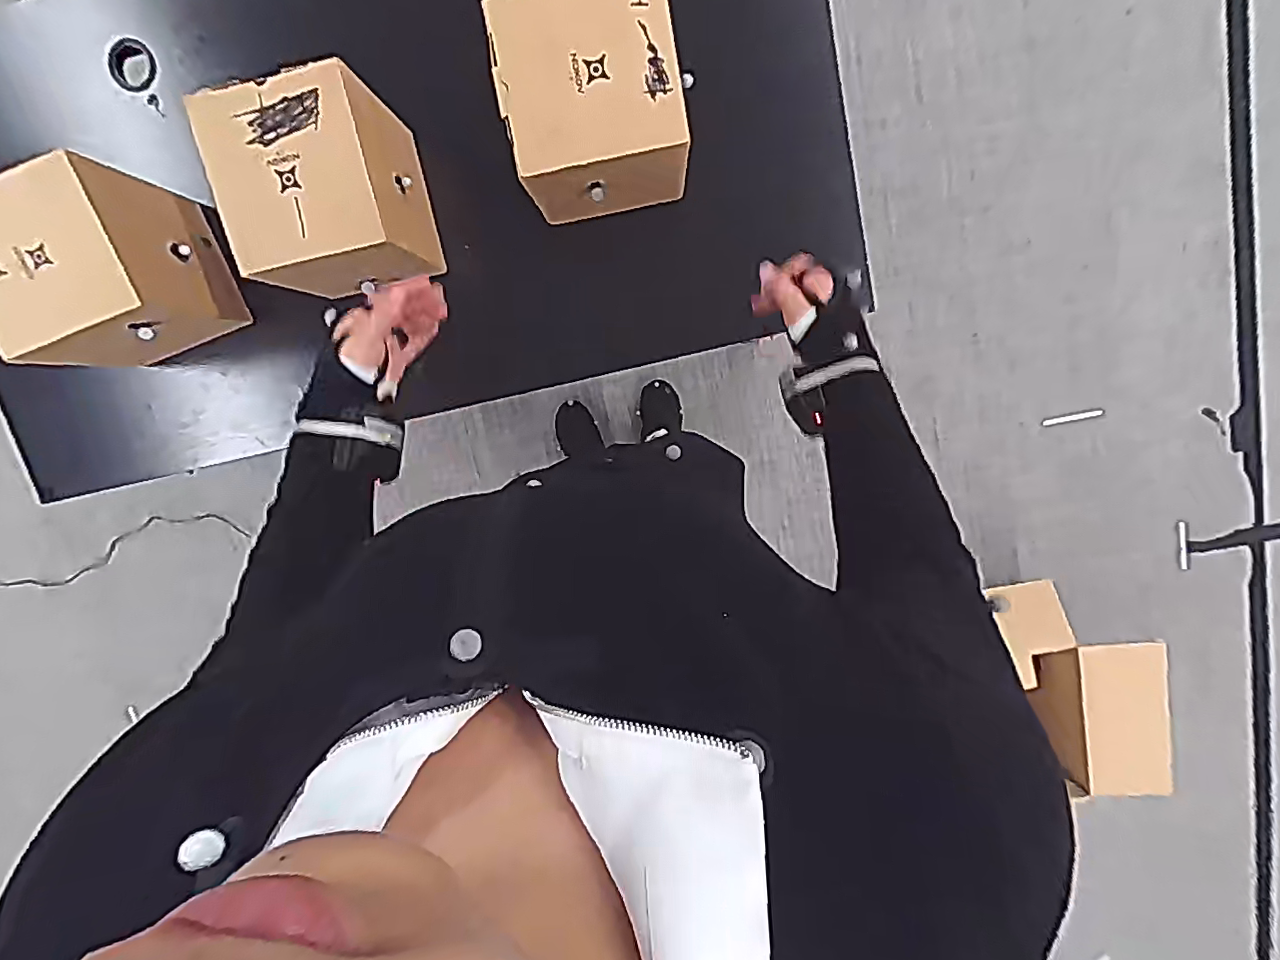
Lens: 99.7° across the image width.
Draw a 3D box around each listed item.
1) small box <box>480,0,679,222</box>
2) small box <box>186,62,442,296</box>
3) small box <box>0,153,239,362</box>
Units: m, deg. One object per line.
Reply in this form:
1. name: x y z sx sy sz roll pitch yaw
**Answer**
1. small box: -0.053 -0.409 0.606 0.179 0.176 0.168 -10 100 4
2. small box: -0.356 -0.328 0.629 0.168 0.176 0.179 -11 101 4
3. small box: -0.634 -0.249 0.650 0.179 0.176 0.168 -19 99 5
